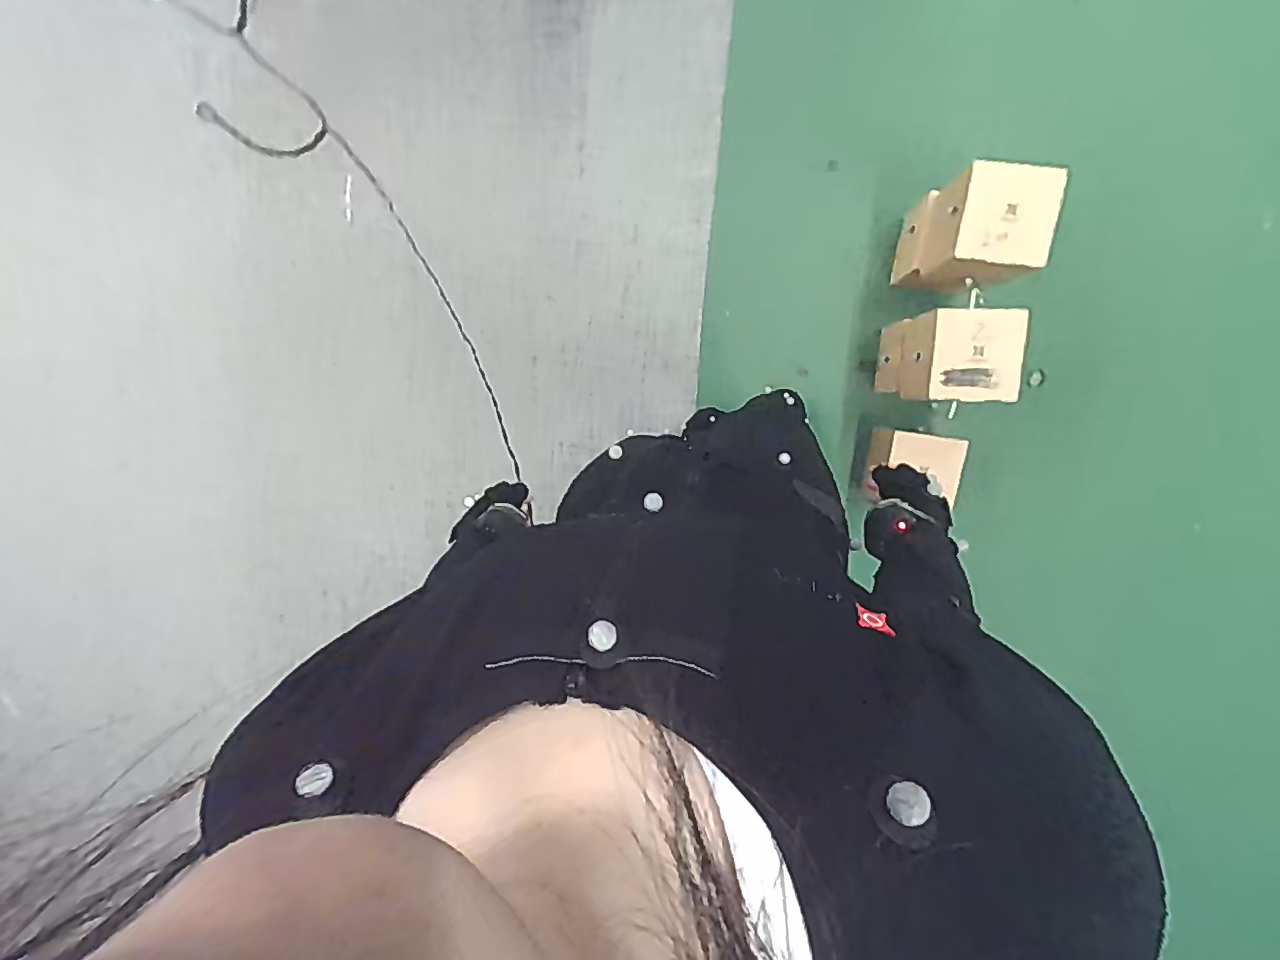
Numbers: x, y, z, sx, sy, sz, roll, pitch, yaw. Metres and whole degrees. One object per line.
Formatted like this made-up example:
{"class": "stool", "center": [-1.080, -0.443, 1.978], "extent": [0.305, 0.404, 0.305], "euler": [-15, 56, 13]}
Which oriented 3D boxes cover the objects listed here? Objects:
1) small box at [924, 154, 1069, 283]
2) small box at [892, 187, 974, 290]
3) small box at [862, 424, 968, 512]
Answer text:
{"class": "small box", "center": [0.692, -0.510, 1.075], "extent": [0.168, 0.176, 0.179], "euler": [10, 99, 6]}
{"class": "small box", "center": [0.703, -0.544, 1.236], "extent": [0.179, 0.176, 0.168], "euler": [11, 99, 5]}
{"class": "small box", "center": [0.659, -0.035, 1.318], "extent": [0.168, 0.176, 0.179], "euler": [10, 99, 5]}
